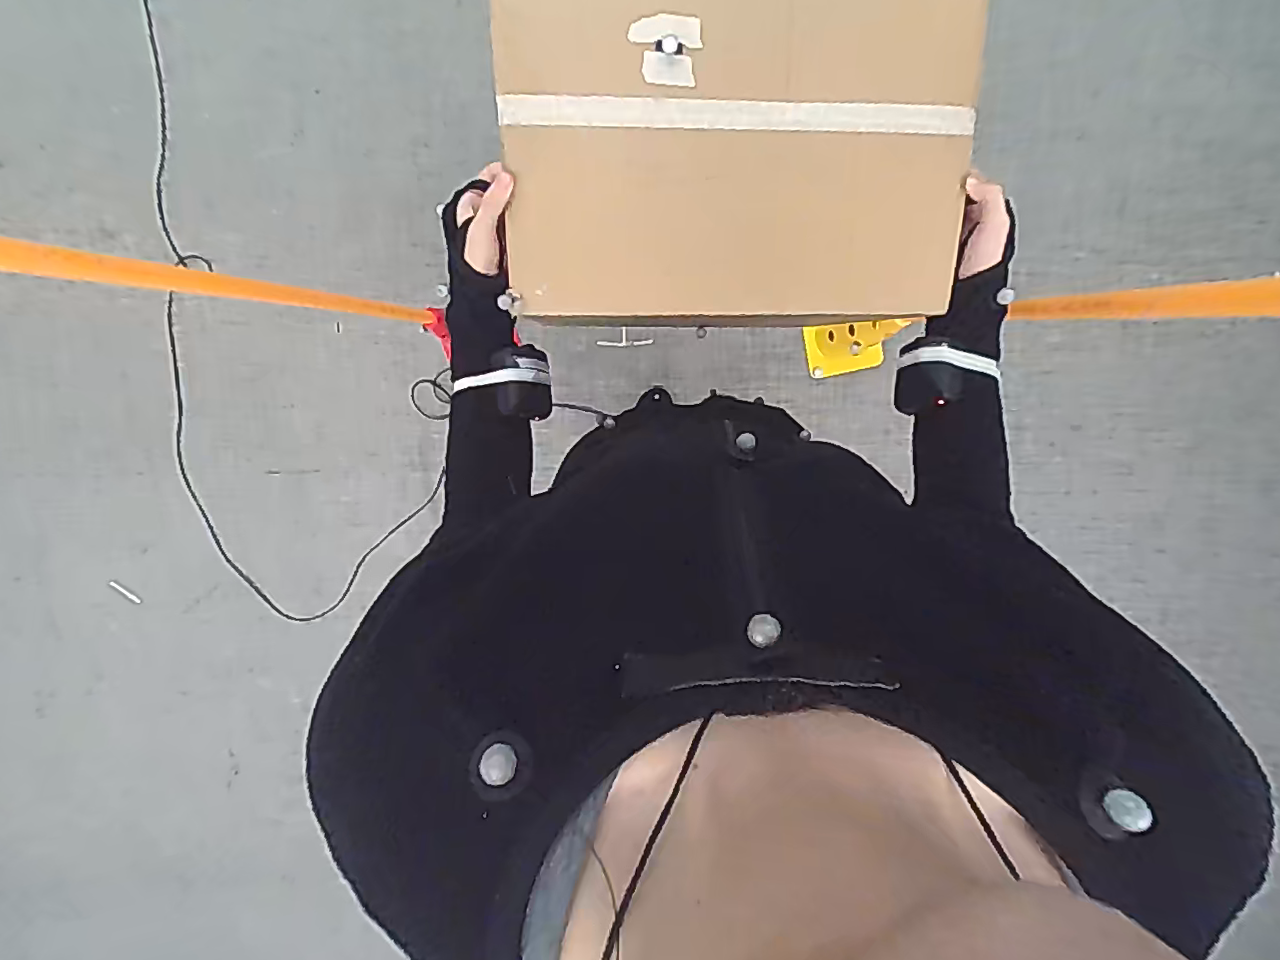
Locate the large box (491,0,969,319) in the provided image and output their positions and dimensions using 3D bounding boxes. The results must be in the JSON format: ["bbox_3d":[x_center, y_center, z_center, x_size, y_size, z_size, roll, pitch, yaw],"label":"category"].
[{"bbox_3d":[0.070,-0.346,0.607,0.408,0.320,0.320,-2,104,-4],"label":"large box"}]
